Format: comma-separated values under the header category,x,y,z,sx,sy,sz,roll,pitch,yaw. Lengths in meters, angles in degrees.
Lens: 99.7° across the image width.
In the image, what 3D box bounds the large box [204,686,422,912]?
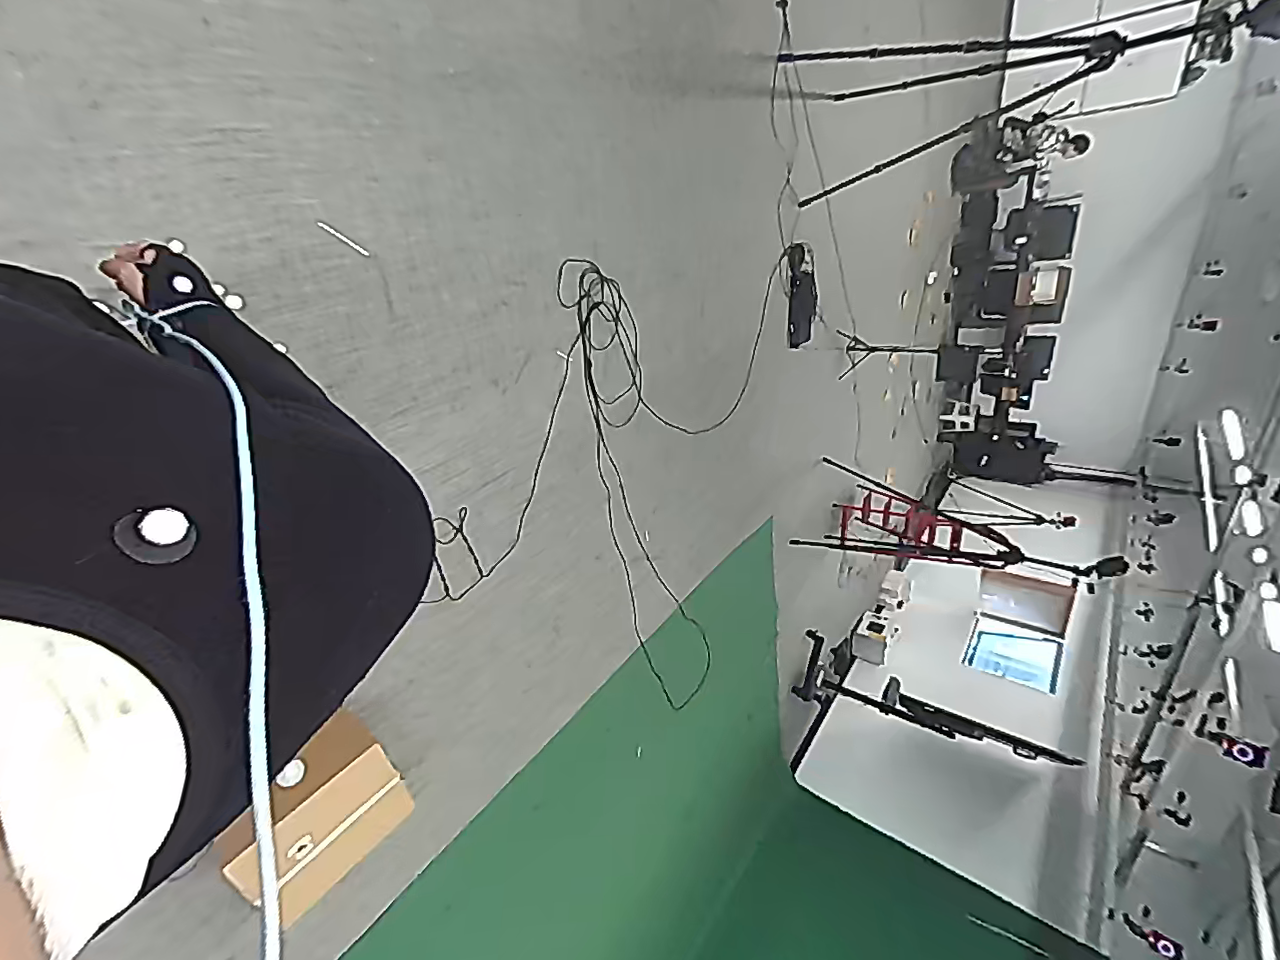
category,x,y,z,sx,sy,sz,roll,pitch,yaw
large box,-0.938,0.901,1.581,0.408,0.320,0.320,-37,126,-39
